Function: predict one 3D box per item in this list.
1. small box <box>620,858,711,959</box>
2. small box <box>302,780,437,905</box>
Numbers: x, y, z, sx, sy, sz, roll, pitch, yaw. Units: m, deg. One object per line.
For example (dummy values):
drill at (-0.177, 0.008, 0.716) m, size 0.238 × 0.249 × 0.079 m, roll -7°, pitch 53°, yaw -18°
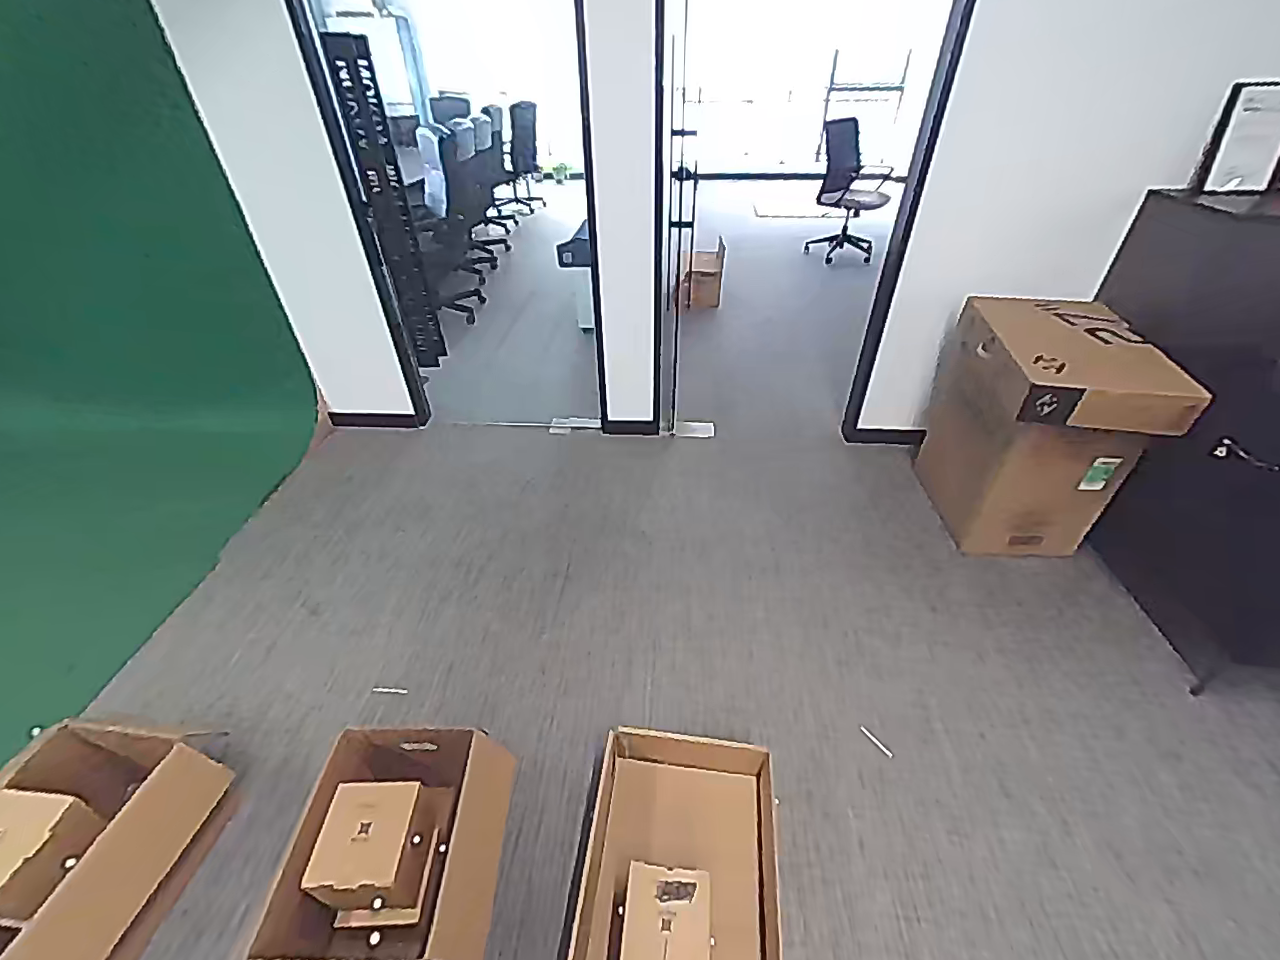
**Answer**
small box at (0.051, 0.891, 1.075) m, size 0.168 × 0.176 × 0.179 m, roll 4°, pitch 38°, yaw 5°
small box at (-0.522, 0.724, 1.076) m, size 0.168 × 0.176 × 0.179 m, roll 0°, pitch 40°, yaw -1°
